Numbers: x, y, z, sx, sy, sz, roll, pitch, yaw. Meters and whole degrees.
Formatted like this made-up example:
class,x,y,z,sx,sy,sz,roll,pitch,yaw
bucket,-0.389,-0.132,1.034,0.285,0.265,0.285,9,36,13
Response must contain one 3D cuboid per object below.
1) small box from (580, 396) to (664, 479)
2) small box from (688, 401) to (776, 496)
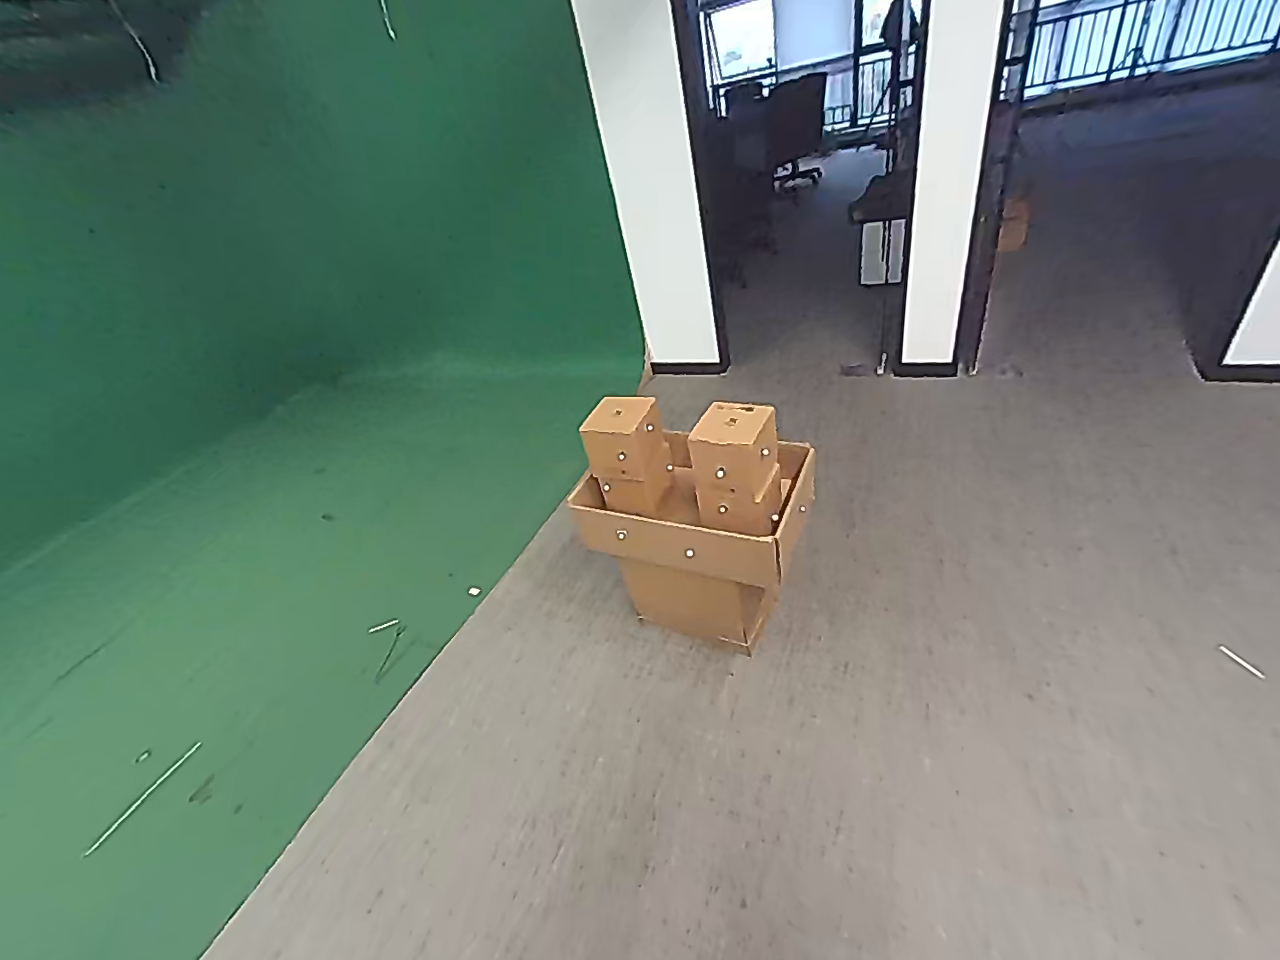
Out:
class,x,y,z,sx,sy,sz,roll,pitch,yaw
small box,-0.042,-0.120,1.530,0.168,0.176,0.179,6,41,25
small box,0.242,-0.080,1.375,0.168,0.176,0.179,10,44,29
